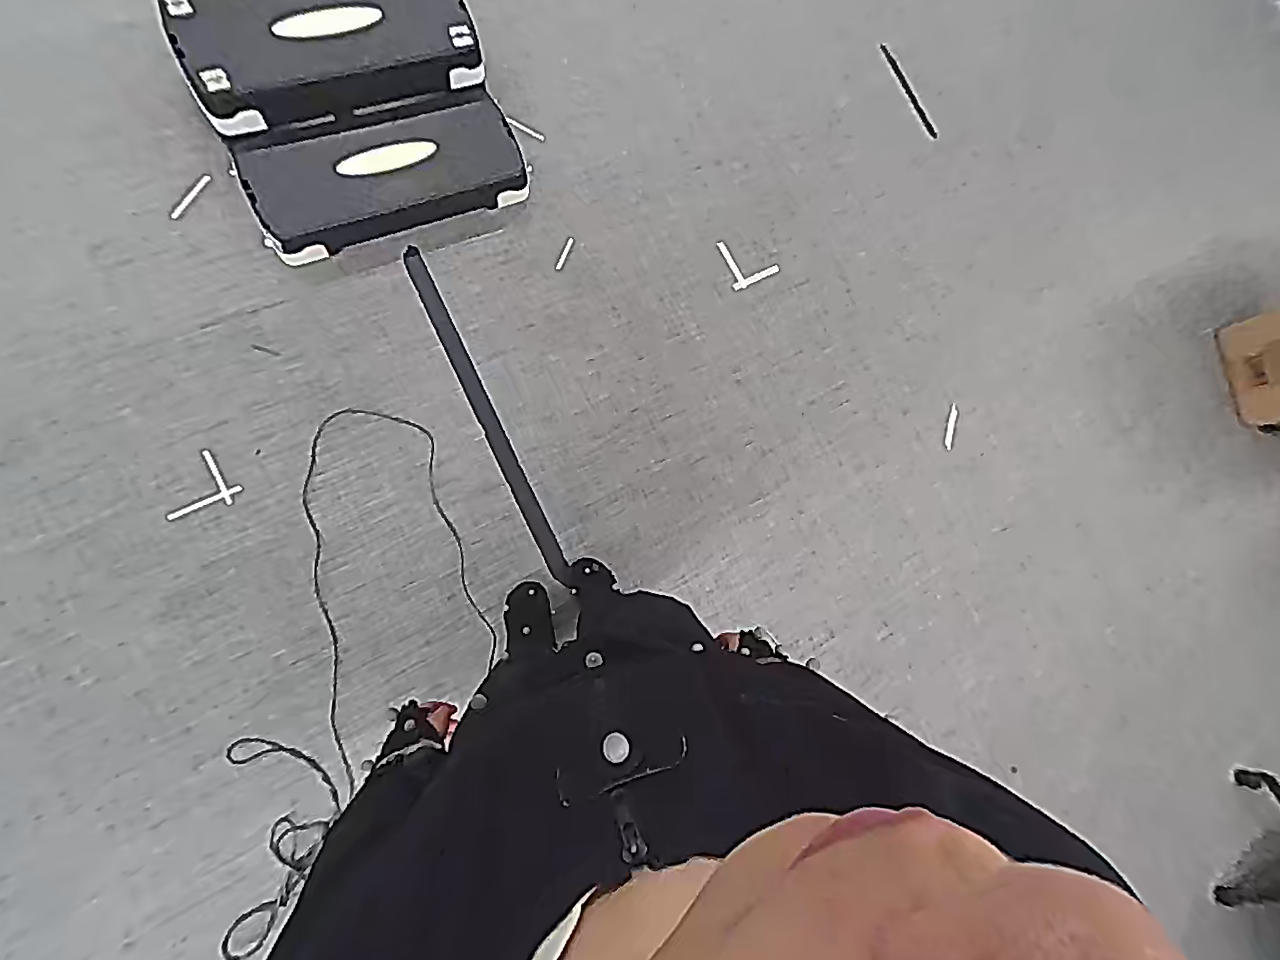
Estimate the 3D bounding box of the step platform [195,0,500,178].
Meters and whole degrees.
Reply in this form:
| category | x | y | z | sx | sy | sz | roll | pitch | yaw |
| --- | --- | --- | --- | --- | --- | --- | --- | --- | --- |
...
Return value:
| category | x | y | z | sx | sy | sz | roll | pitch | yaw |
| --- | --- | --- | --- | --- | --- | --- | --- | --- | --- |
| step platform | -0.722 | -1.026 | 1.404 | 0.684 | 0.204 | 0.286 | -21 | 84 | -17 |
